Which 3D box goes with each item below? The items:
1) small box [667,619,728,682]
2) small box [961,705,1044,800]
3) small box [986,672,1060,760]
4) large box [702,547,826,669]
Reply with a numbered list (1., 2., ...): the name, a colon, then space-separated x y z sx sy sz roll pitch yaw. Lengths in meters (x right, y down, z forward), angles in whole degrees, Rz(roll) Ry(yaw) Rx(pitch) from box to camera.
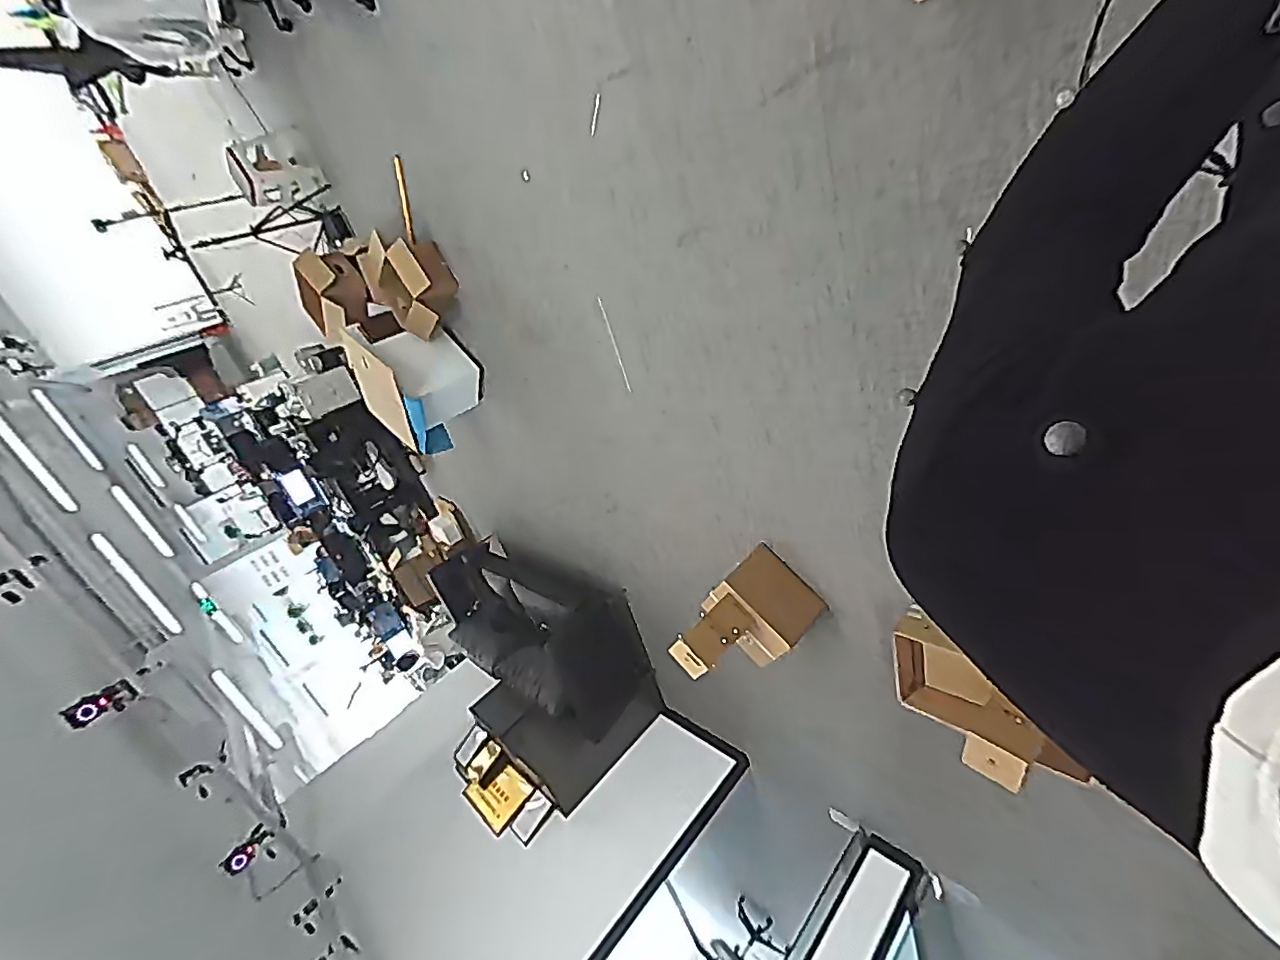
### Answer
1. small box: 0.249 0.721 2.295 0.168 0.176 0.179 46 147 14
2. small box: 1.169 0.872 1.742 0.168 0.176 0.179 23 135 43
3. small box: 1.286 0.792 1.823 0.168 0.176 0.179 20 132 46
4. large box: 0.572 0.594 2.529 0.408 0.320 0.320 44 147 14
